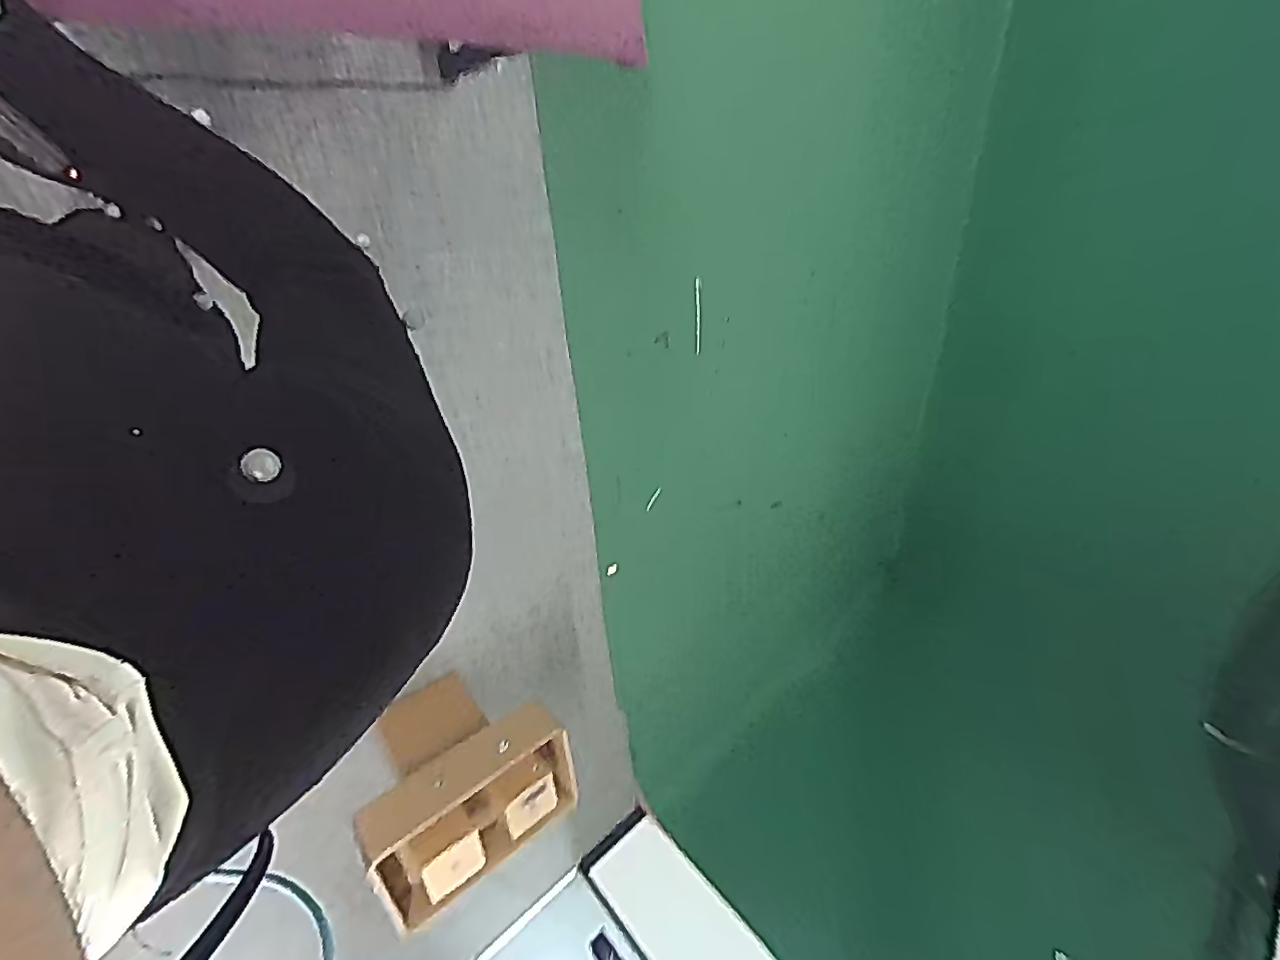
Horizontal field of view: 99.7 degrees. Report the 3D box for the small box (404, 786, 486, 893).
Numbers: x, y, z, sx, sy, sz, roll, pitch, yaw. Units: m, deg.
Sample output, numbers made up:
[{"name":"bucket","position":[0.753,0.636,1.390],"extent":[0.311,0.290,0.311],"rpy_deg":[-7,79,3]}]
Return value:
[{"name":"small box","position":[-0.592,1.080,1.639],"extent":[0.168,0.176,0.179],"rpy_deg":[-24,124,-33]}]
